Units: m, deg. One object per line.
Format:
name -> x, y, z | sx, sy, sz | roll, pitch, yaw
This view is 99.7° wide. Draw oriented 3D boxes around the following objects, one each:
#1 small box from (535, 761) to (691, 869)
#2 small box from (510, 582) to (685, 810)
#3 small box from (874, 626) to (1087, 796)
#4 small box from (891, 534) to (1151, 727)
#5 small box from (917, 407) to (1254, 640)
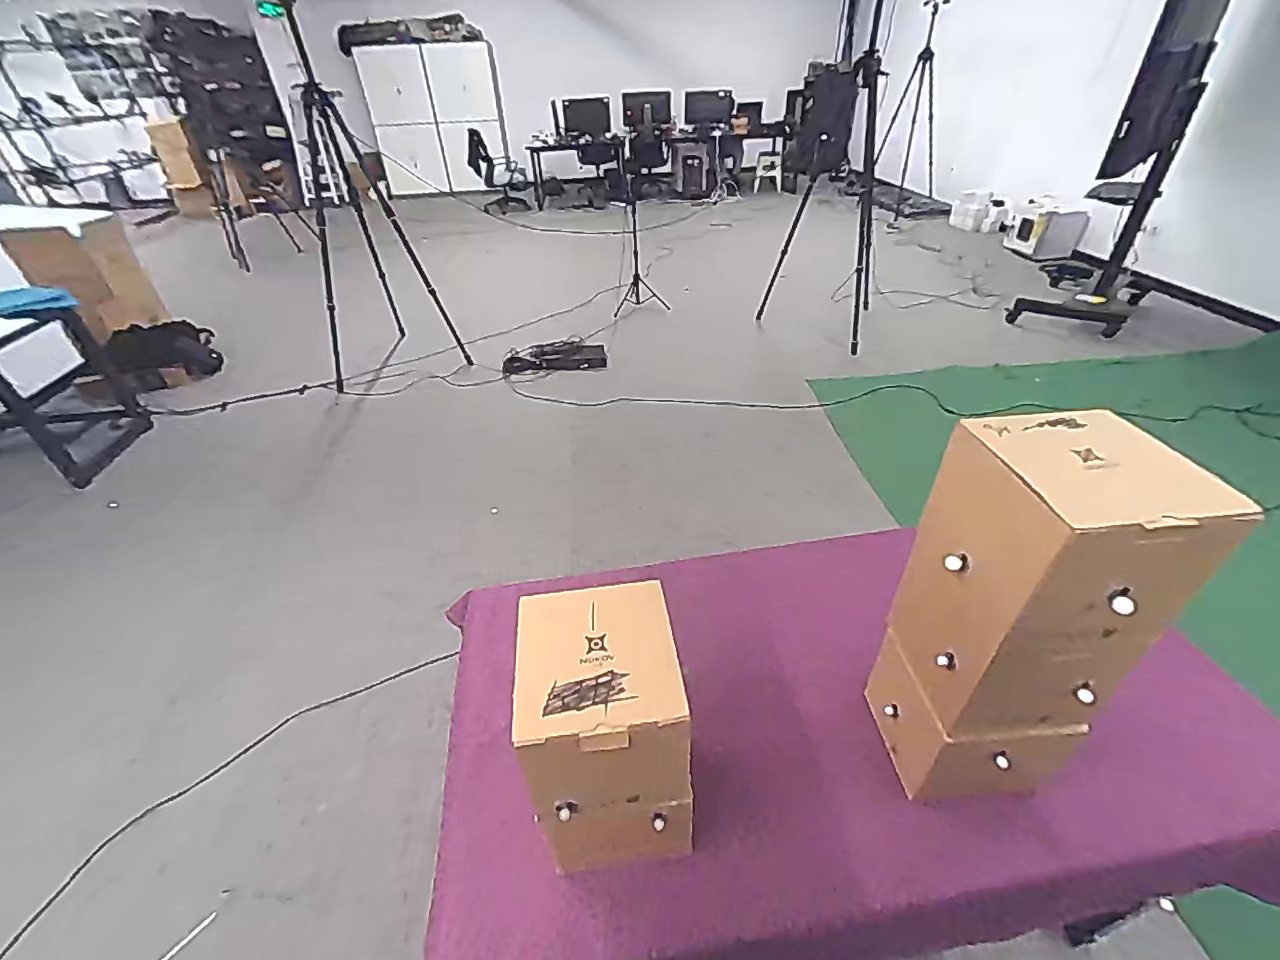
small box -> -0.032, 0.377, 0.705 | 0.179, 0.176, 0.168 | -6, 37, -4
small box -> -0.043, 0.244, 0.609 | 0.168, 0.176, 0.179 | -7, 36, -5
small box -> 0.439, 0.311, 0.740 | 0.179, 0.176, 0.168 | -4, 38, 0
small box -> 0.429, 0.177, 0.649 | 0.168, 0.176, 0.179 | -4, 37, 0
small box -> 0.416, 0.046, 0.550 | 0.168, 0.176, 0.179 | -4, 38, -2
